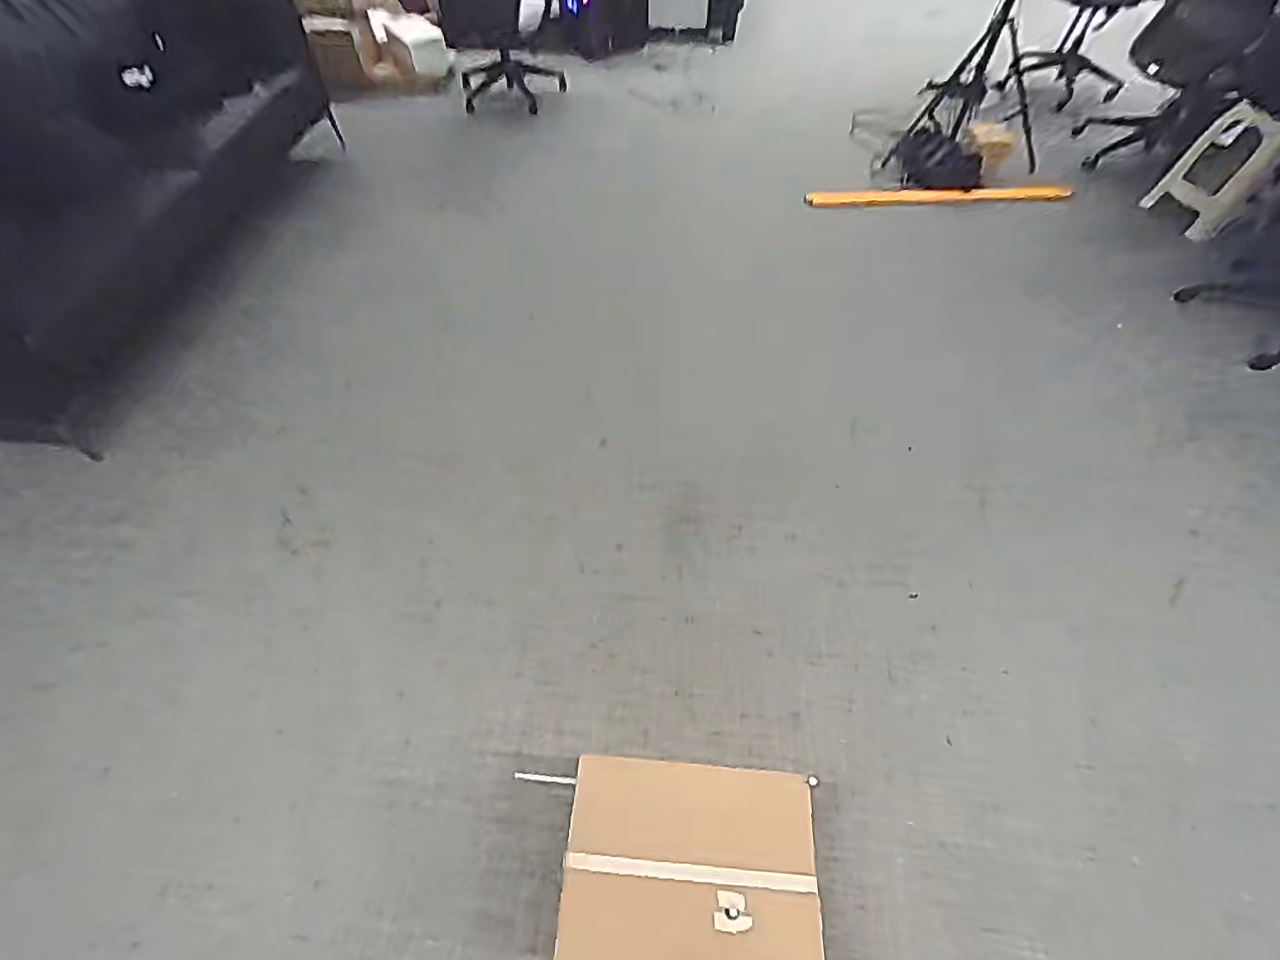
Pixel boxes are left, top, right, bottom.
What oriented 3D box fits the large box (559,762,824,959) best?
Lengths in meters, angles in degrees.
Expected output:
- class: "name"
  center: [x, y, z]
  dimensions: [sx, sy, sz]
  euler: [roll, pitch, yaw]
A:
- class: "large box"
  center: [0.084, 0.727, 0.987]
  dimensions: [0.408, 0.320, 0.320]
  euler: [4, 54, 4]
